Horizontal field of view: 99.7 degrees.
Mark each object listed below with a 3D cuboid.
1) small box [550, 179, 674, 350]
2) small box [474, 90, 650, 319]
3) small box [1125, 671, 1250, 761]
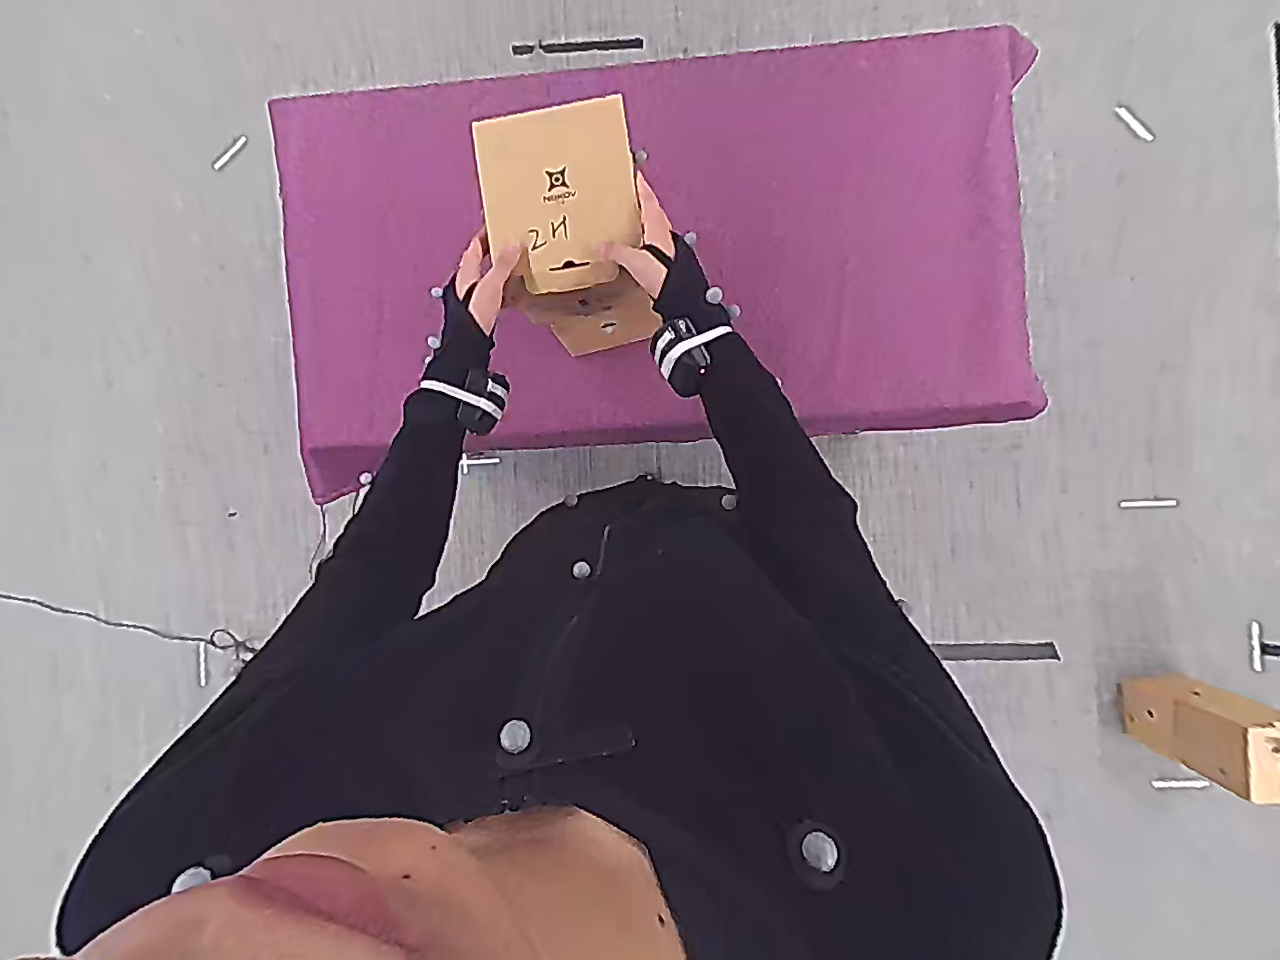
[{"bbox_3d":[-0.049,-0.307,0.810,0.179,0.176,0.168,-14,90,3],"label":"small box"},{"bbox_3d":[-0.081,-0.312,0.647,0.168,0.176,0.179,-8,90,4],"label":"small box"},{"bbox_3d":[1.458,0.630,1.456,0.179,0.176,0.168,-6,90,3],"label":"small box"}]
